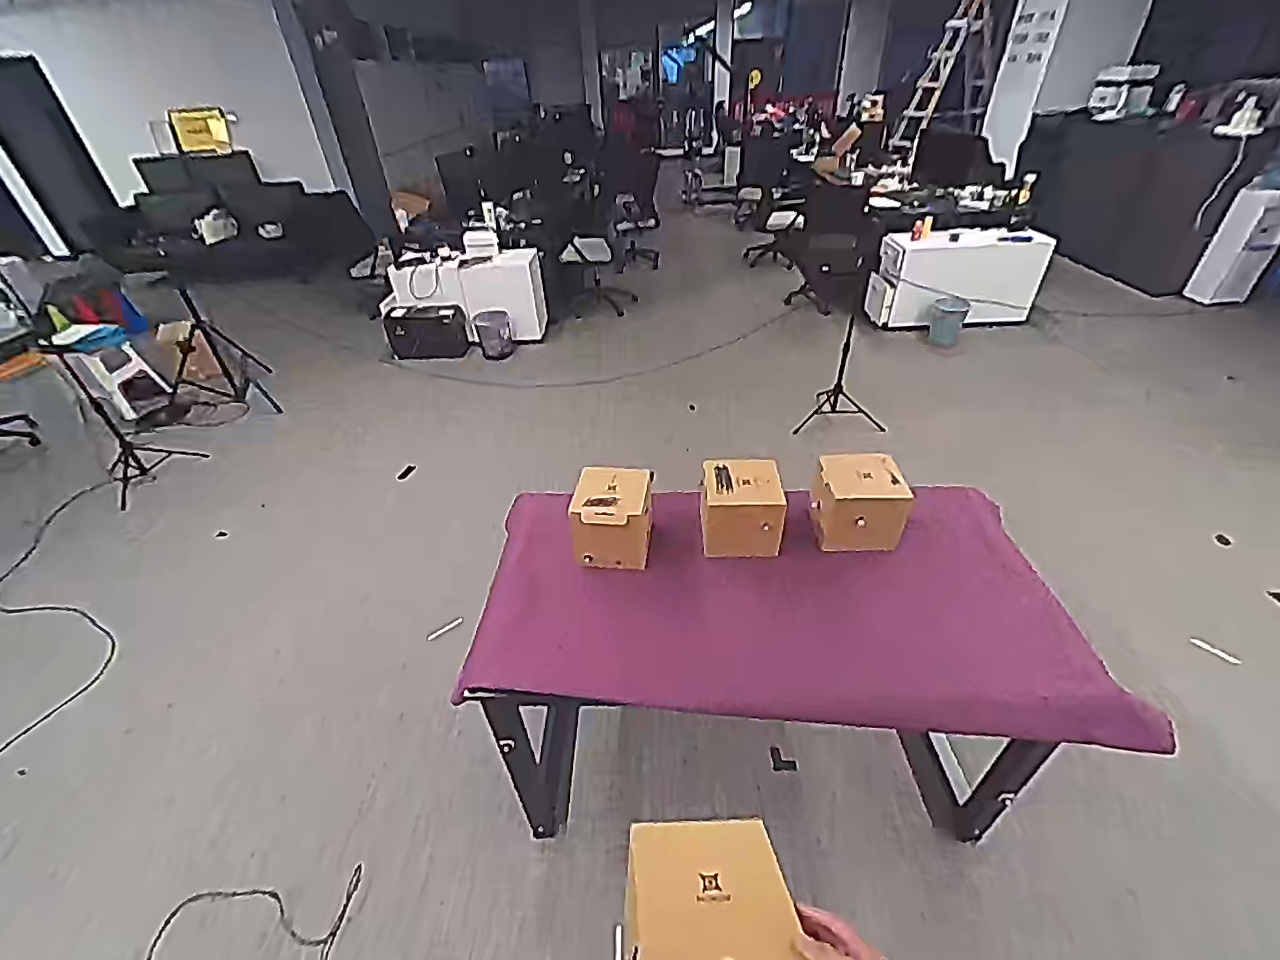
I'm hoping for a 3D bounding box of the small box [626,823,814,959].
[{"bbox_3d":[0.073,0.513,0.587,0.168,0.176,0.179,1,11,-5],"label":"small box"}]

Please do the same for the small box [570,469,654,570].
[{"bbox_3d":[-0.058,0.094,1.282,0.168,0.176,0.179,3,38,7],"label":"small box"}]
